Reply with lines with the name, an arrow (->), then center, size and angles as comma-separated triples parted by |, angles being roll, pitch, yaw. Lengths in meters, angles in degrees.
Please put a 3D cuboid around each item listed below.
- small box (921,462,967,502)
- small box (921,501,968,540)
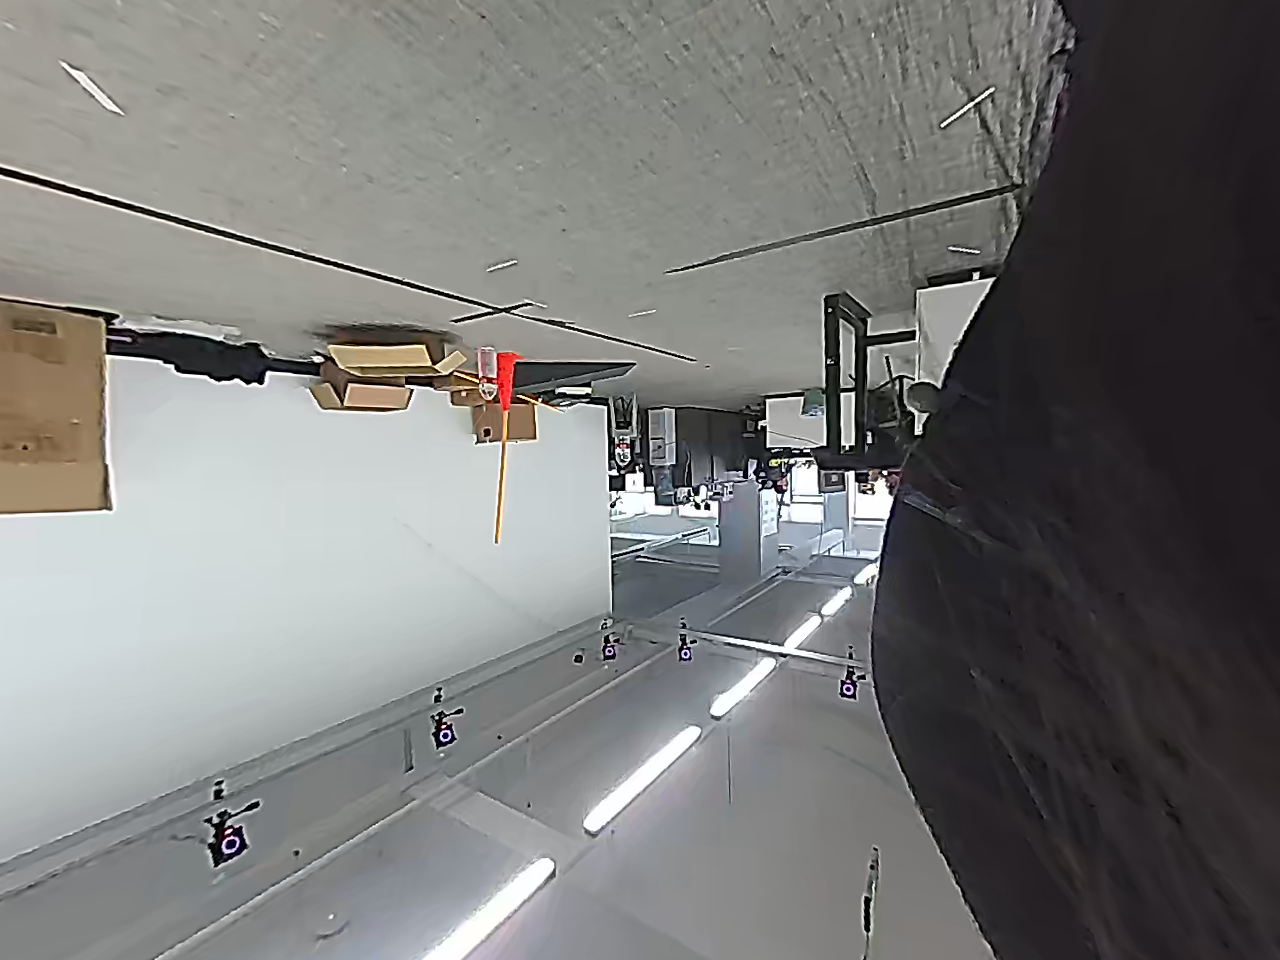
small box -> 1.371, 0.008, 2.437 | 0.179, 0.176, 0.168 | 0, -177, 30
small box -> 1.376, 0.172, 2.444 | 0.179, 0.176, 0.168 | -1, -179, 29
